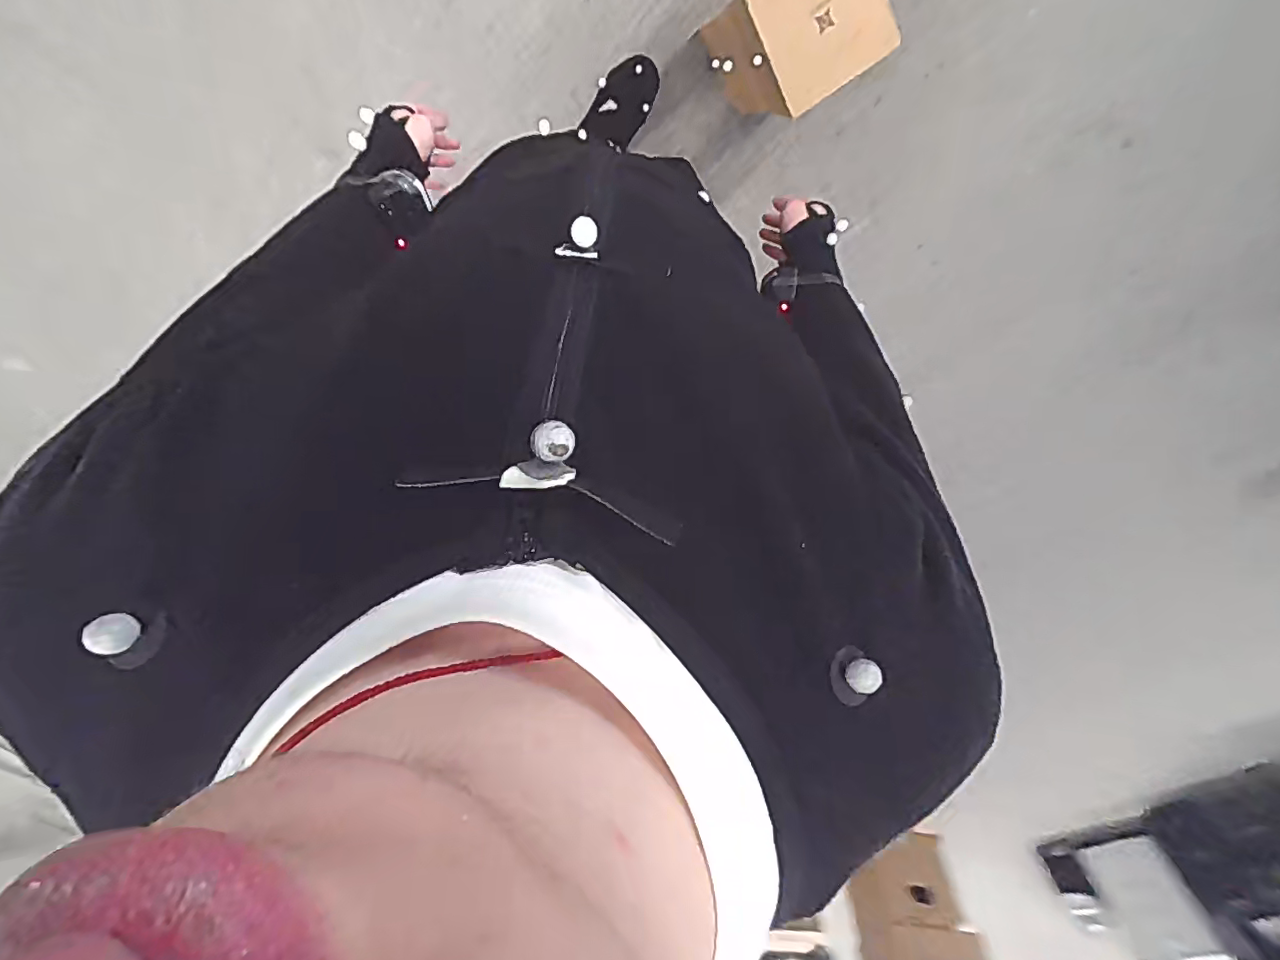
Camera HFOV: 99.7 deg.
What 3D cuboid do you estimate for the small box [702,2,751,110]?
[{"bbox_3d":[0.239,-0.876,1.073,0.179,0.176,0.168,-27,122,18],"label":"small box"}]

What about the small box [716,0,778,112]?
[{"bbox_3d":[0.248,-0.781,0.939,0.179,0.176,0.168,-25,123,18],"label":"small box"}]

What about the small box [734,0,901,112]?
[{"bbox_3d":[0.255,-0.690,0.806,0.168,0.176,0.179,-26,124,20],"label":"small box"}]
